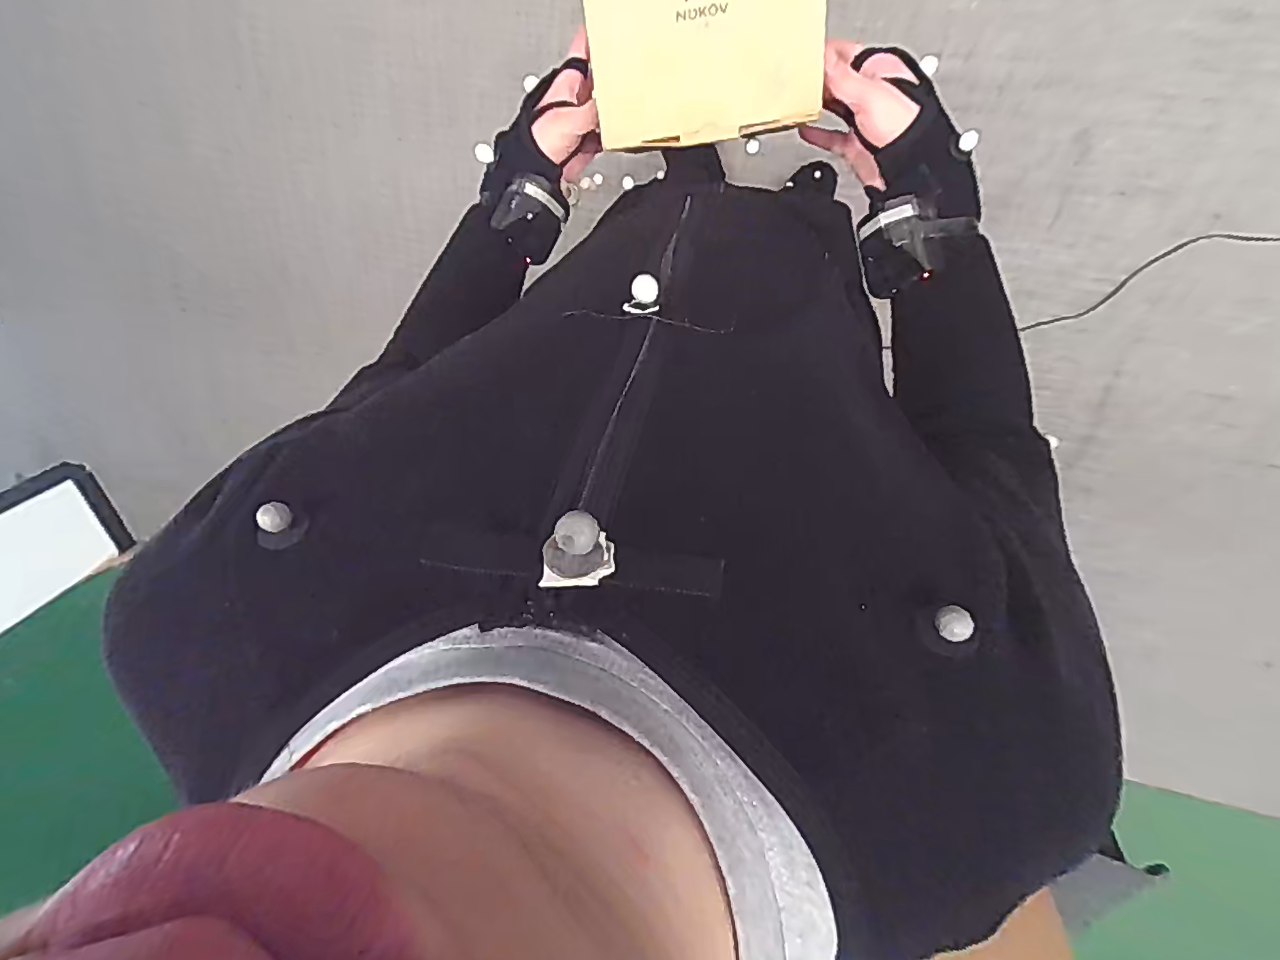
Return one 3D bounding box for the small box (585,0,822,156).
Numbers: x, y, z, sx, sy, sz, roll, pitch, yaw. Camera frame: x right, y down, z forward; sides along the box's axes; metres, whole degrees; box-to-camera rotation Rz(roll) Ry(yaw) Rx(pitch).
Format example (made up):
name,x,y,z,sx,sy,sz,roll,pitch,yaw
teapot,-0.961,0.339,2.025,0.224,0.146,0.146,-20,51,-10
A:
name,x,y,z,sx,sy,sz,roll,pitch,yaw
small box,0.051,-0.374,0.441,0.168,0.176,0.179,-4,118,8
